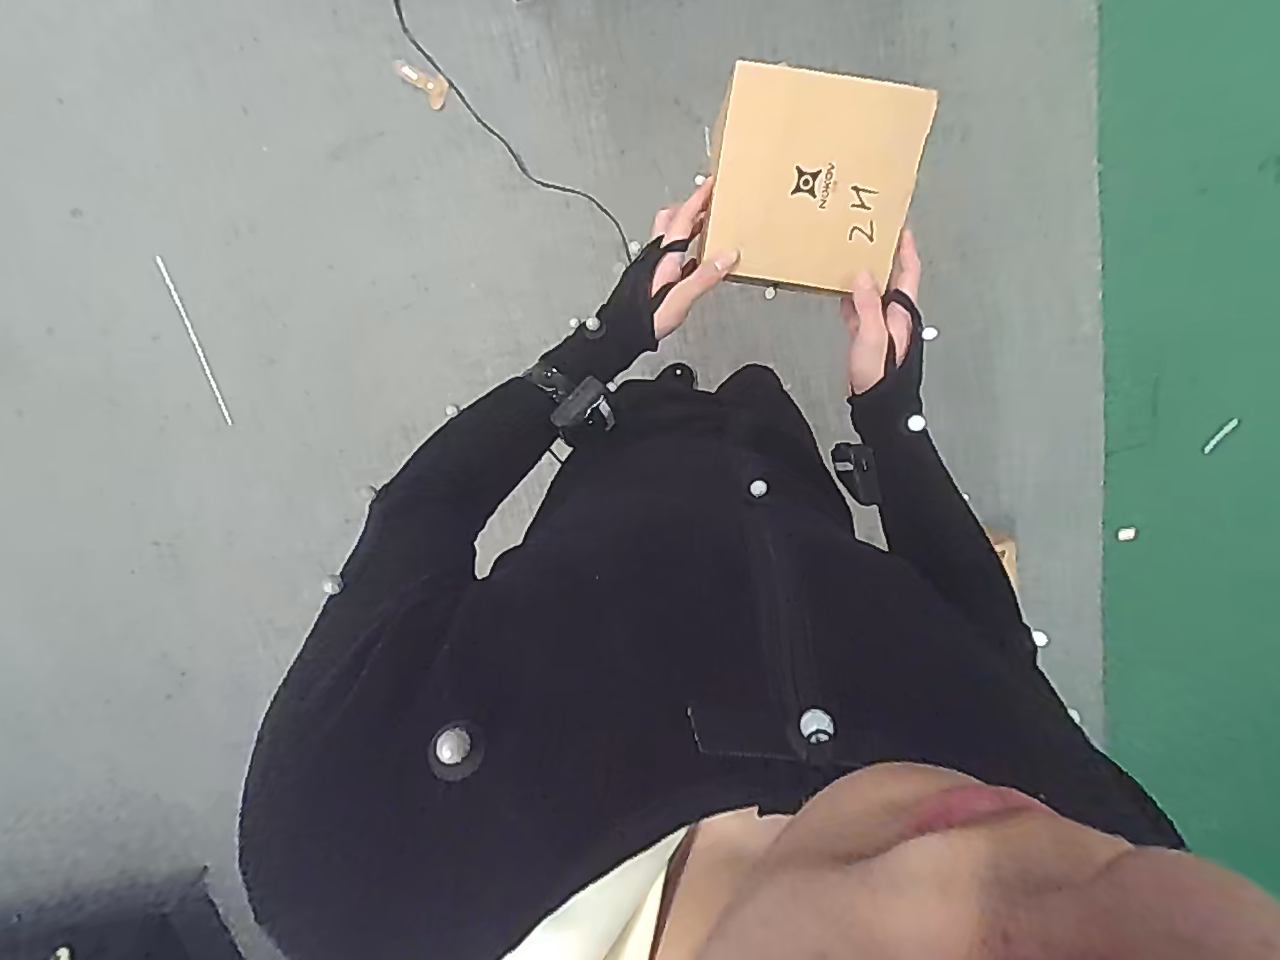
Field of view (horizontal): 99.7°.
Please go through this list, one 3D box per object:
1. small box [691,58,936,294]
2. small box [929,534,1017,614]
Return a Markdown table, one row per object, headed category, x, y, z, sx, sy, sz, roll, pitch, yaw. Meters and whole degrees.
| category | x | y | z | sx | sy | sz | roll | pitch | yaw |
| --- | --- | --- | --- | --- | --- | --- | --- | --- | --- |
| small box | 0.151 | -0.284 | 0.546 | 0.179 | 0.176 | 0.168 | 8 | 109 | -1 |
| small box | 0.980 | 0.269 | 1.602 | 0.168 | 0.176 | 0.179 | -10 | 104 | 3 |
